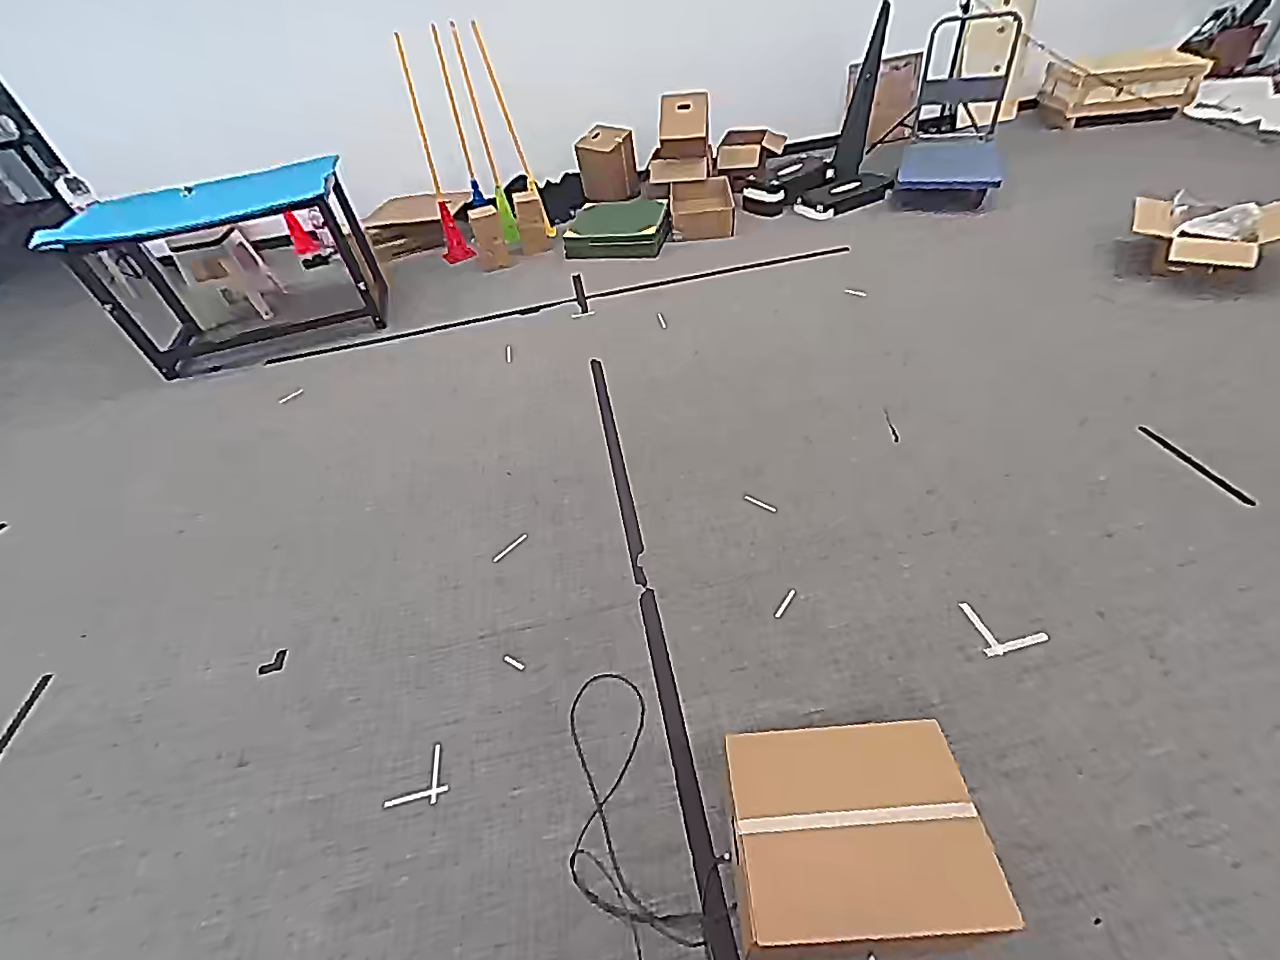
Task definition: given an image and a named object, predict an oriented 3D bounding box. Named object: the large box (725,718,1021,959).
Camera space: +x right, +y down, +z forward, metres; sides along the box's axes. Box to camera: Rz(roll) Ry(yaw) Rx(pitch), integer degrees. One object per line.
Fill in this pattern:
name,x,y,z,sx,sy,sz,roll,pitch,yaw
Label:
large box,0.388,0.688,1.029,0.408,0.320,0.320,-6,44,2
